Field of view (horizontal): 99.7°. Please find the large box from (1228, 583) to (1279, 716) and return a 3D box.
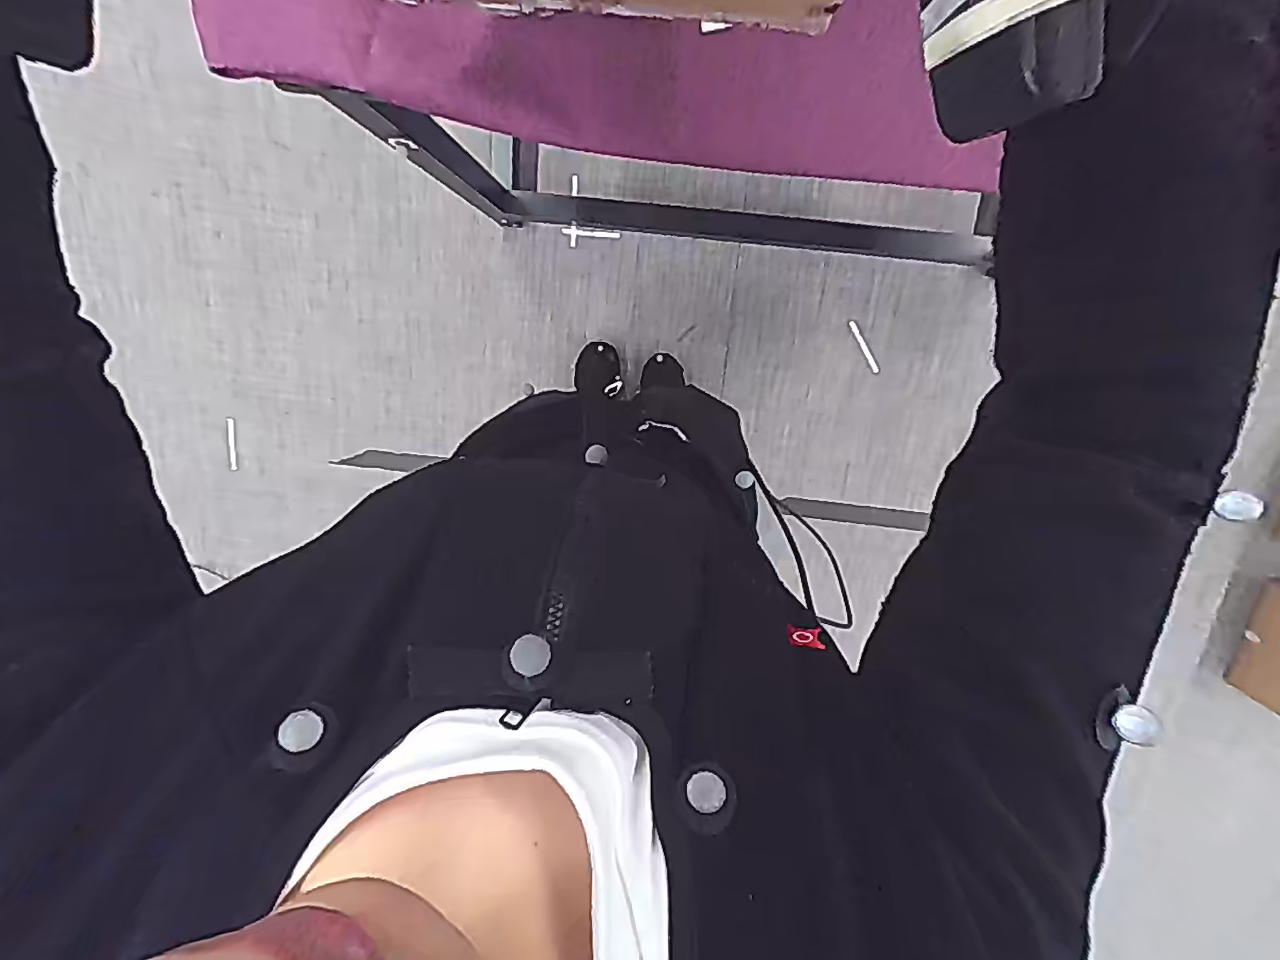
[{"bbox_3d":[1.773,0.455,1.262,0.408,0.320,0.320,5,103,3],"label":"large box"}]
